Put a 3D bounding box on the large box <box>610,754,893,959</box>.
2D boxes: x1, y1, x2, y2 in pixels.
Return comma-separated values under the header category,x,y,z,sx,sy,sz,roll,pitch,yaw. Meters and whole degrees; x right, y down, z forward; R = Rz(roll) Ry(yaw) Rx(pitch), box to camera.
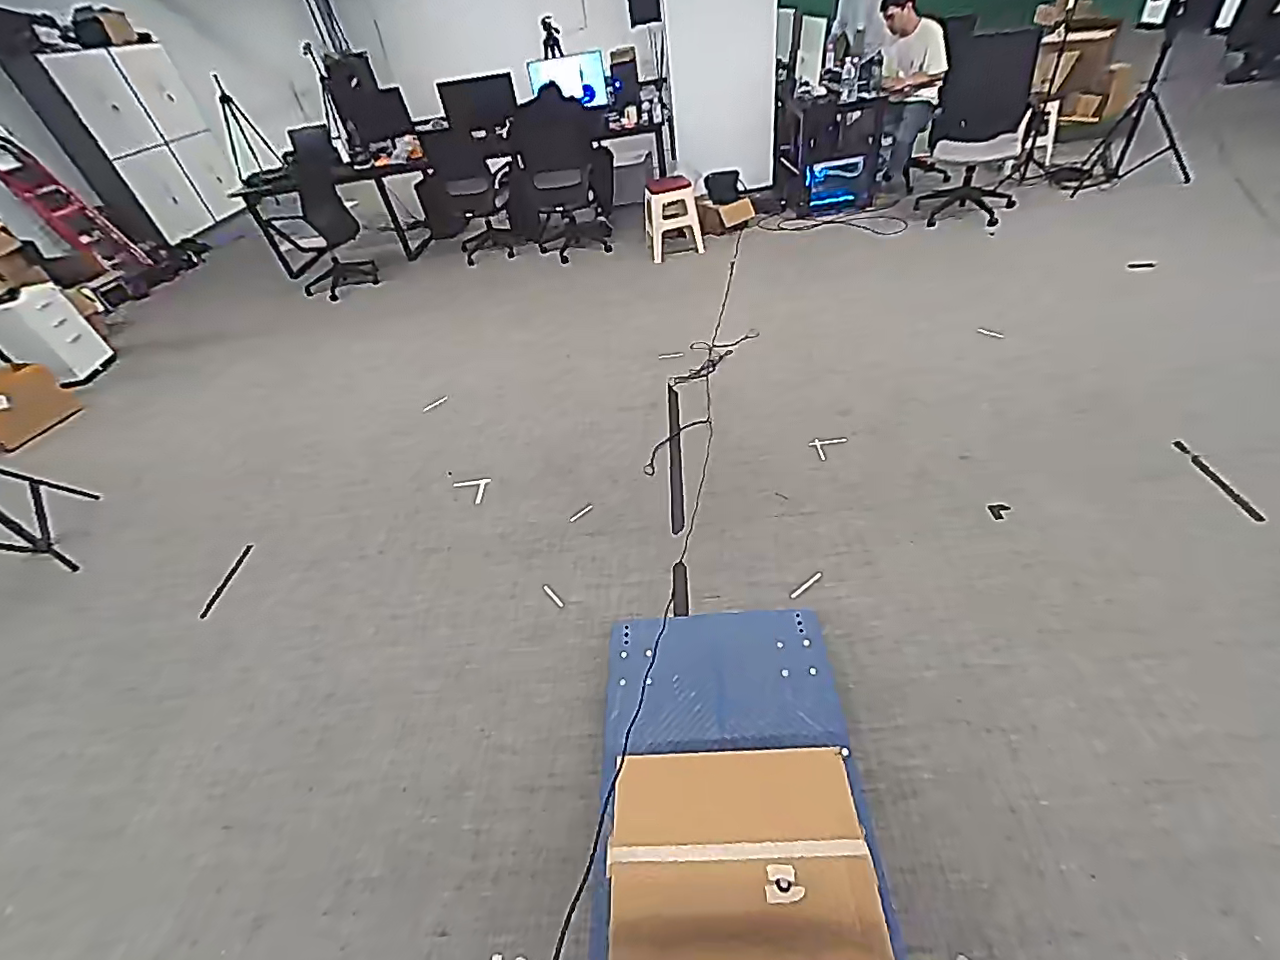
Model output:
category,x,y,z,sx,sy,sz,roll,pitch,yaw
large box,0.170,0.714,0.947,0.408,0.320,0.320,-5,41,5
